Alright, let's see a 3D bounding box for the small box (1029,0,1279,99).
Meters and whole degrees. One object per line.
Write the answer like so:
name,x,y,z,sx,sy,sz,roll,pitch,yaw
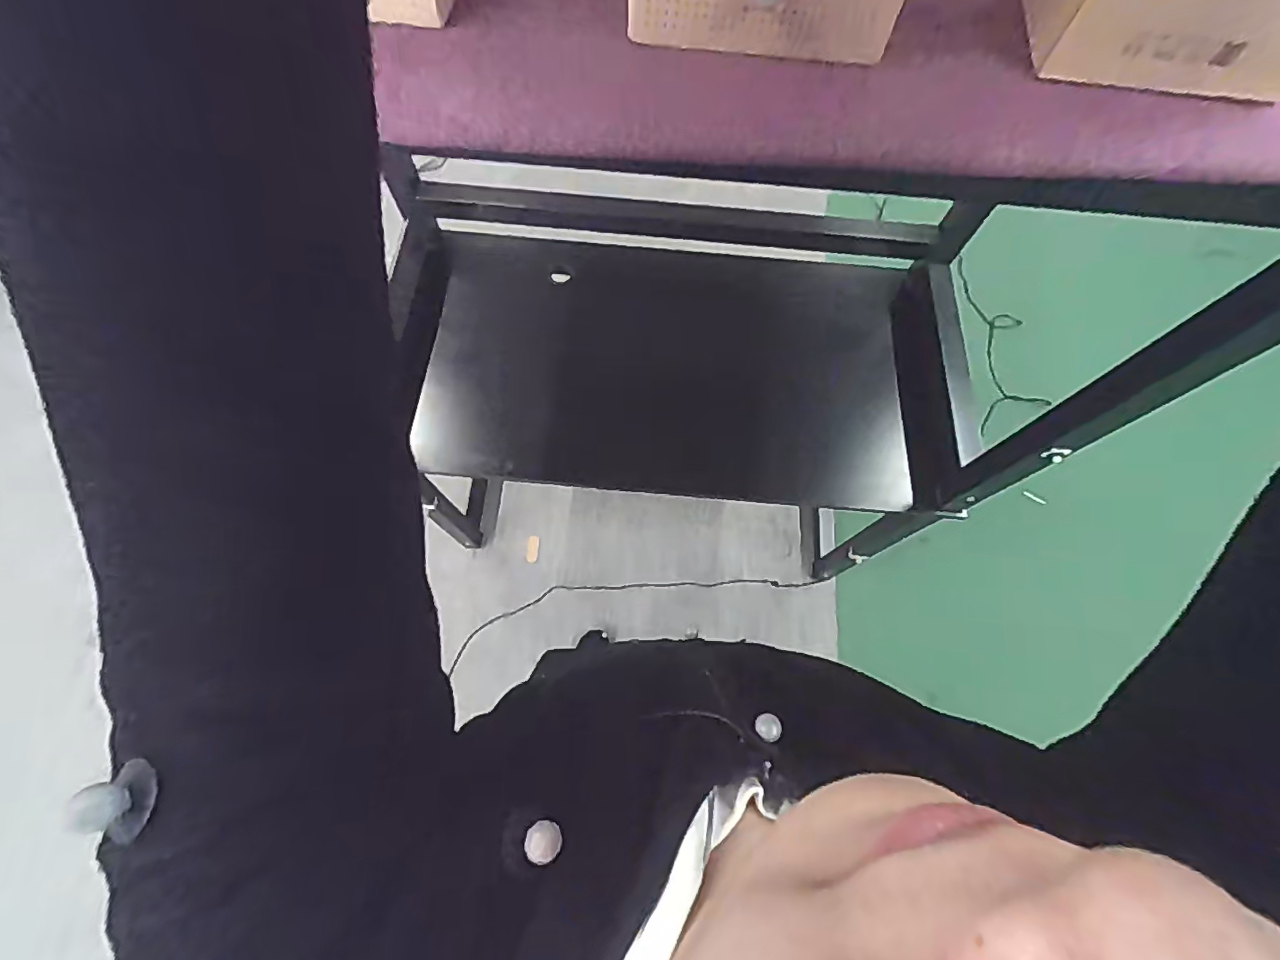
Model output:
small box,0.367,-0.369,0.321,0.168,0.176,0.179,9,68,2
